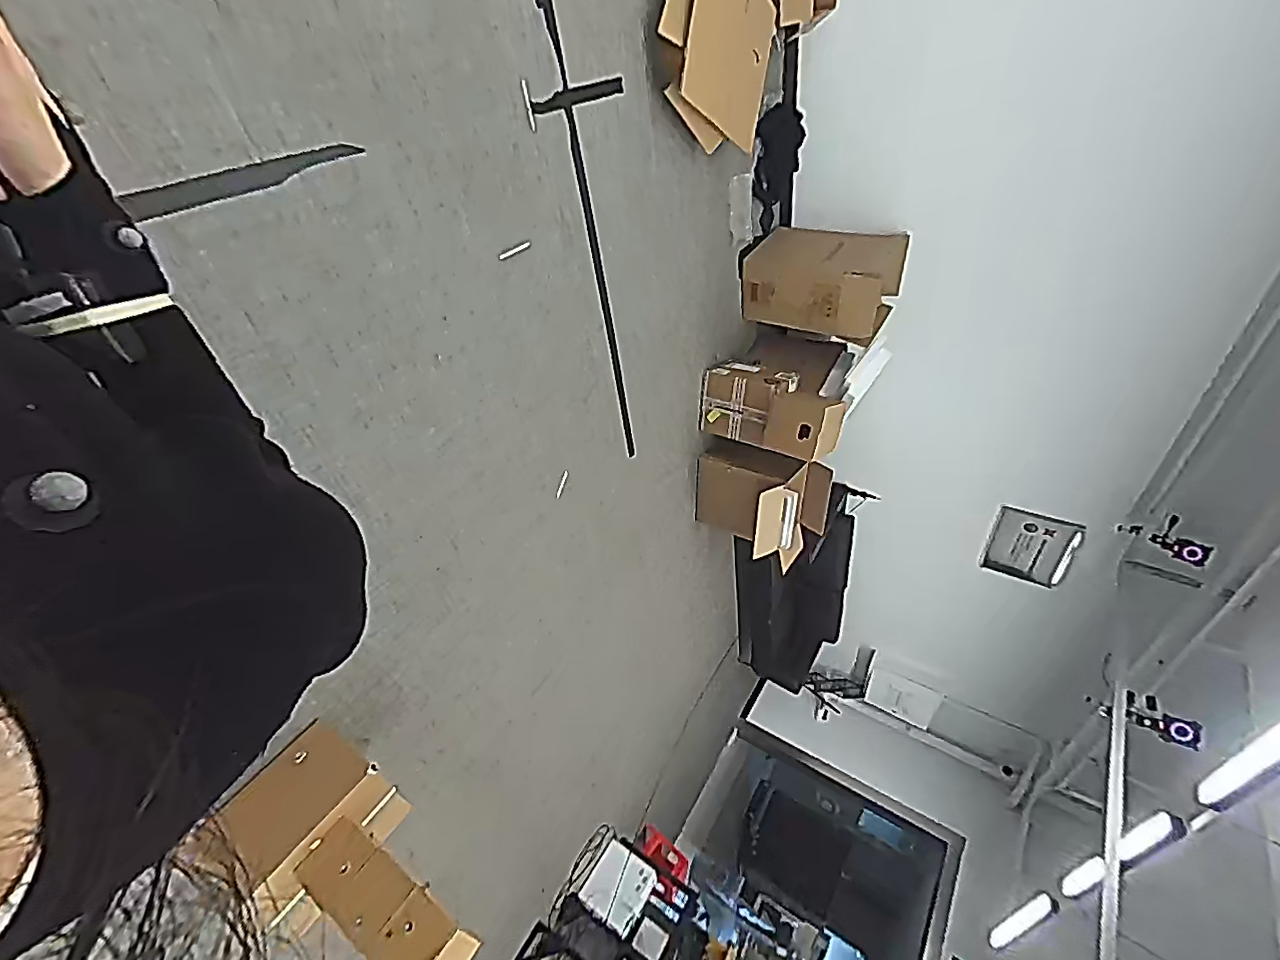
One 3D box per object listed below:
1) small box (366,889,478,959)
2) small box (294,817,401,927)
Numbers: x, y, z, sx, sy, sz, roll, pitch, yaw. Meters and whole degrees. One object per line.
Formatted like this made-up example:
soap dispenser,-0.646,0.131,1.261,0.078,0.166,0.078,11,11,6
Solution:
small box,-0.552,1.193,1.377,0.168,0.176,0.179,-47,141,-35
small box,-0.827,1.102,1.529,0.179,0.176,0.168,-47,141,-34
